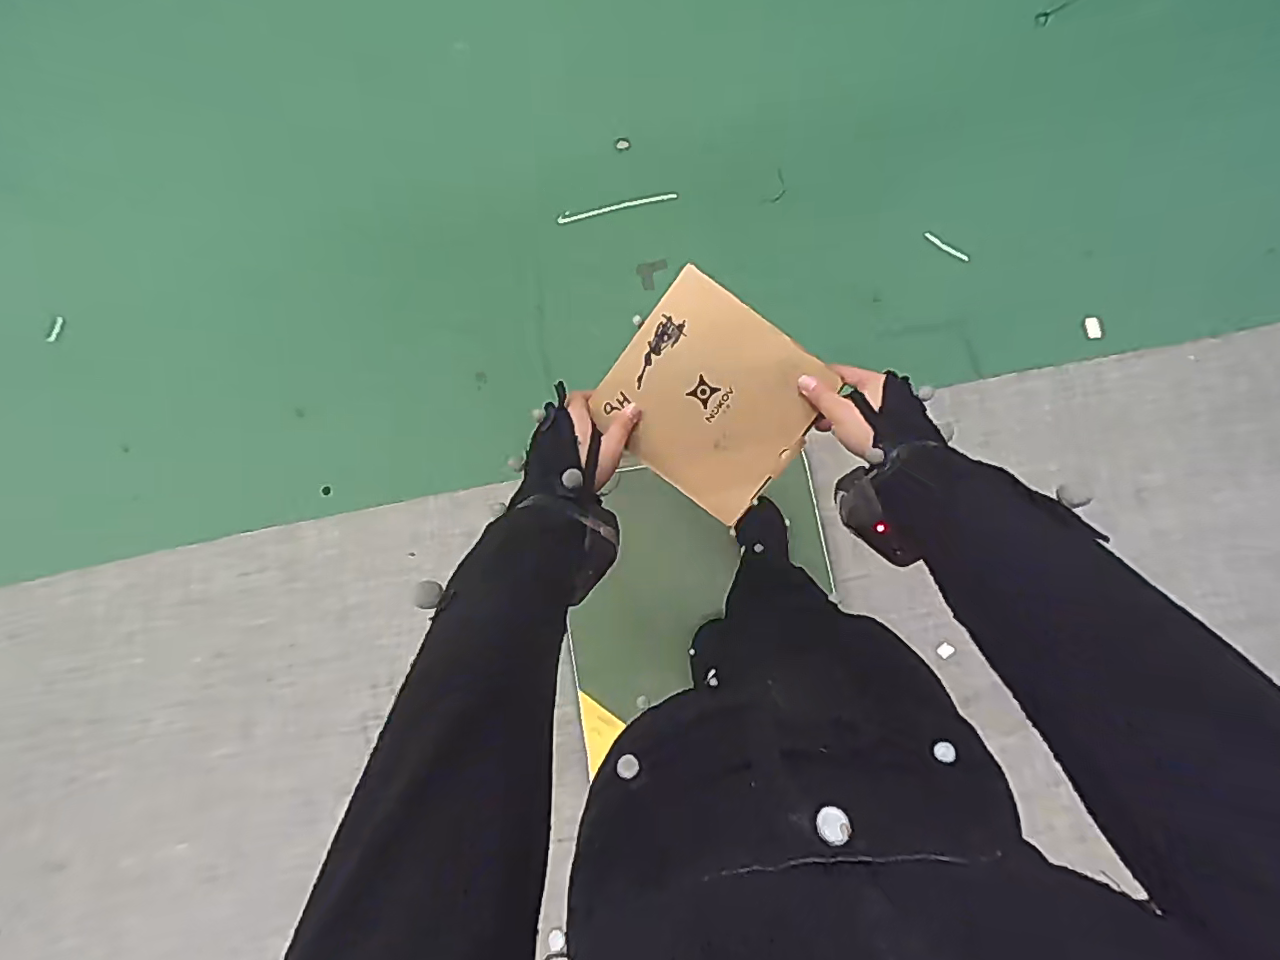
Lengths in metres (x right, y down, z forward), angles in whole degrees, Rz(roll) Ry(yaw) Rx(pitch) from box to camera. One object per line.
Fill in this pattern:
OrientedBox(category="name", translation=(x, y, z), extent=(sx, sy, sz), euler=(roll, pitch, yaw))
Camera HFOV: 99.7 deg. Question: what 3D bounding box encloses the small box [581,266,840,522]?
OrientedBox(category="small box", translation=(0.065, -0.085, 0.563), extent=(0.179, 0.176, 0.168), euler=(37, 96, -2))
